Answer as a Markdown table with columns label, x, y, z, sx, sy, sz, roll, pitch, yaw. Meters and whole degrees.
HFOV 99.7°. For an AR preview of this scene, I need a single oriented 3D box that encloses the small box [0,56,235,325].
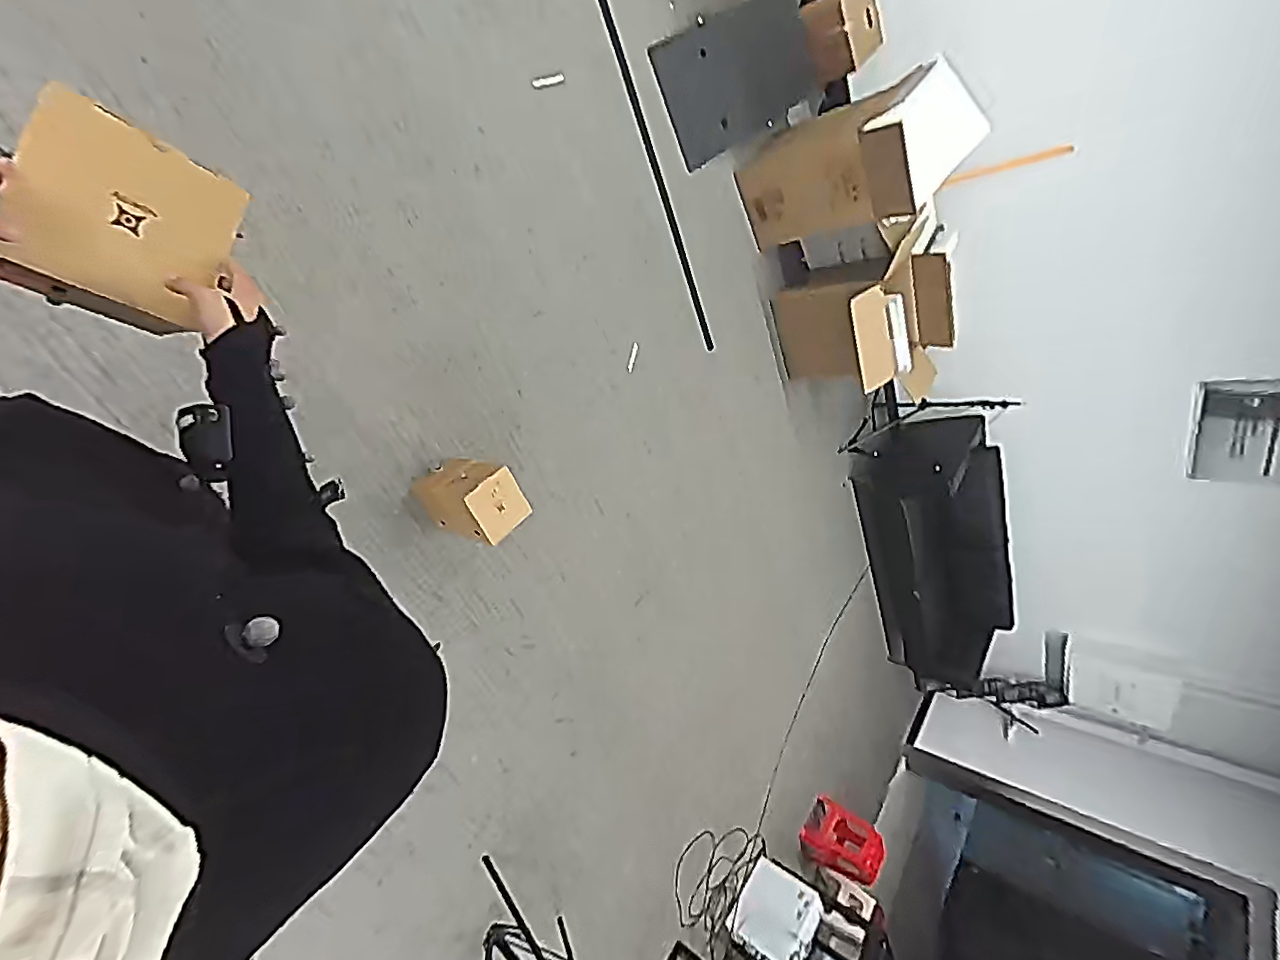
| label | x | y | z | sx | sy | sz | roll | pitch | yaw |
| --- | --- | --- | --- | --- | --- | --- | --- | --- | --- |
| small box | -0.577 | -0.280 | 0.575 | 0.168 | 0.176 | 0.179 | 22 | 78 | -52 |

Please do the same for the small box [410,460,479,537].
| label | x | y | z | sx | sy | sz | roll | pitch | yaw |
| --- | --- | --- | --- | --- | --- | --- | --- | --- | --- |
| small box | -0.579 | 0.050 | 1.690 | 0.168 | 0.176 | 0.179 | -45 | 125 | -35 |

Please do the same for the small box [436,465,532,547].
| label | x | y | z | sx | sy | sz | roll | pitch | yaw |
| --- | --- | --- | --- | --- | --- | --- | --- | --- | --- |
| small box | -0.457 | 0.069 | 1.582 | 0.168 | 0.176 | 0.179 | -46 | 124 | -35 |
